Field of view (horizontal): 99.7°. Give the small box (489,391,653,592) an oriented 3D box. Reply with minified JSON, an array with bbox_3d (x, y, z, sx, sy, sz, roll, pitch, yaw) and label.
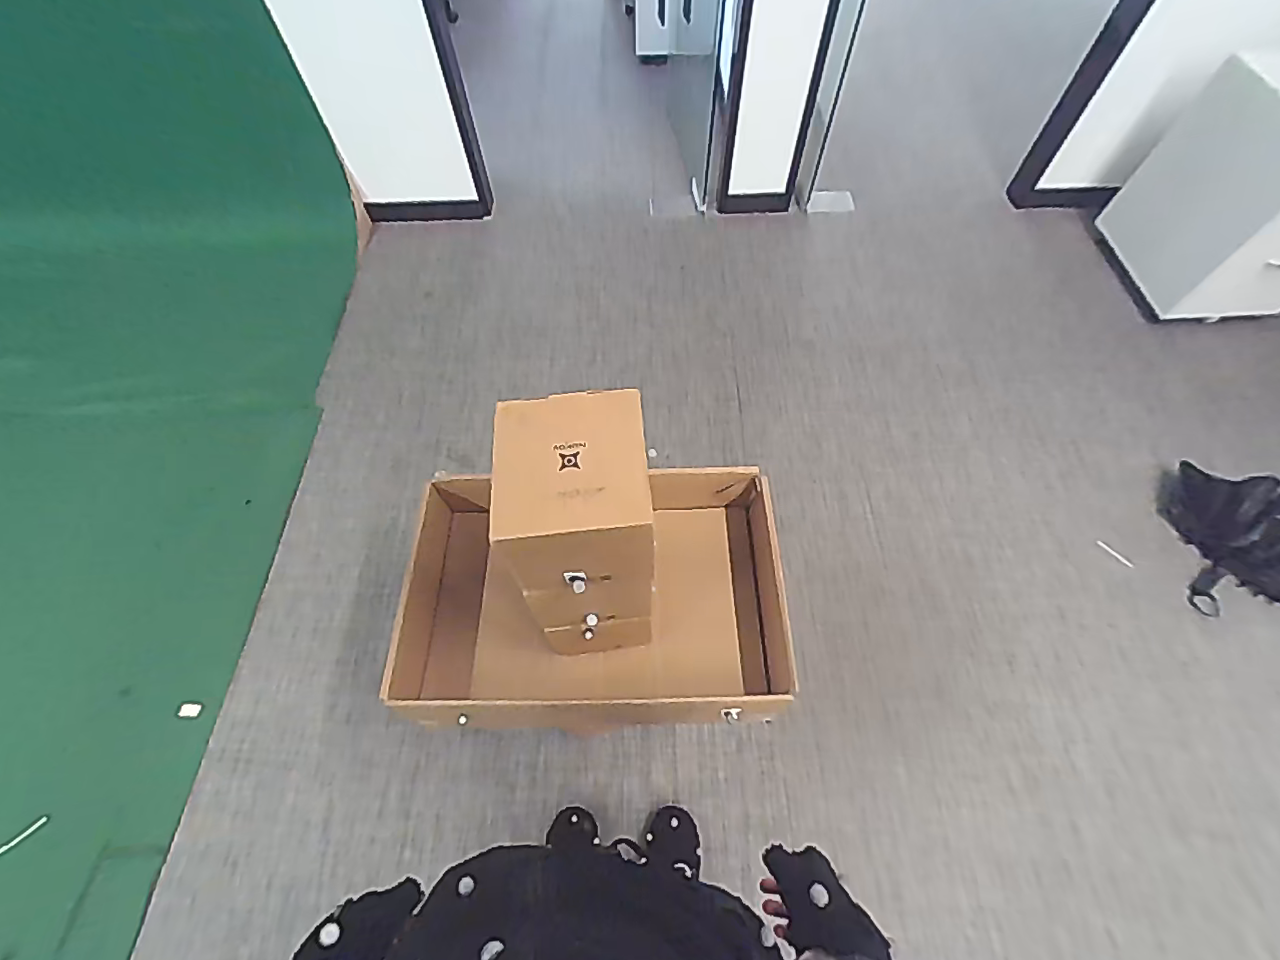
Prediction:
[{"bbox_3d":[-0.075,0.019,0.649,0.168,0.176,0.179,-7,61,-1],"label":"small box"}]

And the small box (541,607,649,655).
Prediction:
[{"bbox_3d":[-0.075,0.185,0.930,0.168,0.176,0.179,-8,59,-2],"label":"small box"}]

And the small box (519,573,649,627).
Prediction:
[{"bbox_3d":[-0.078,0.100,0.790,0.168,0.176,0.179,-6,60,-2],"label":"small box"}]
